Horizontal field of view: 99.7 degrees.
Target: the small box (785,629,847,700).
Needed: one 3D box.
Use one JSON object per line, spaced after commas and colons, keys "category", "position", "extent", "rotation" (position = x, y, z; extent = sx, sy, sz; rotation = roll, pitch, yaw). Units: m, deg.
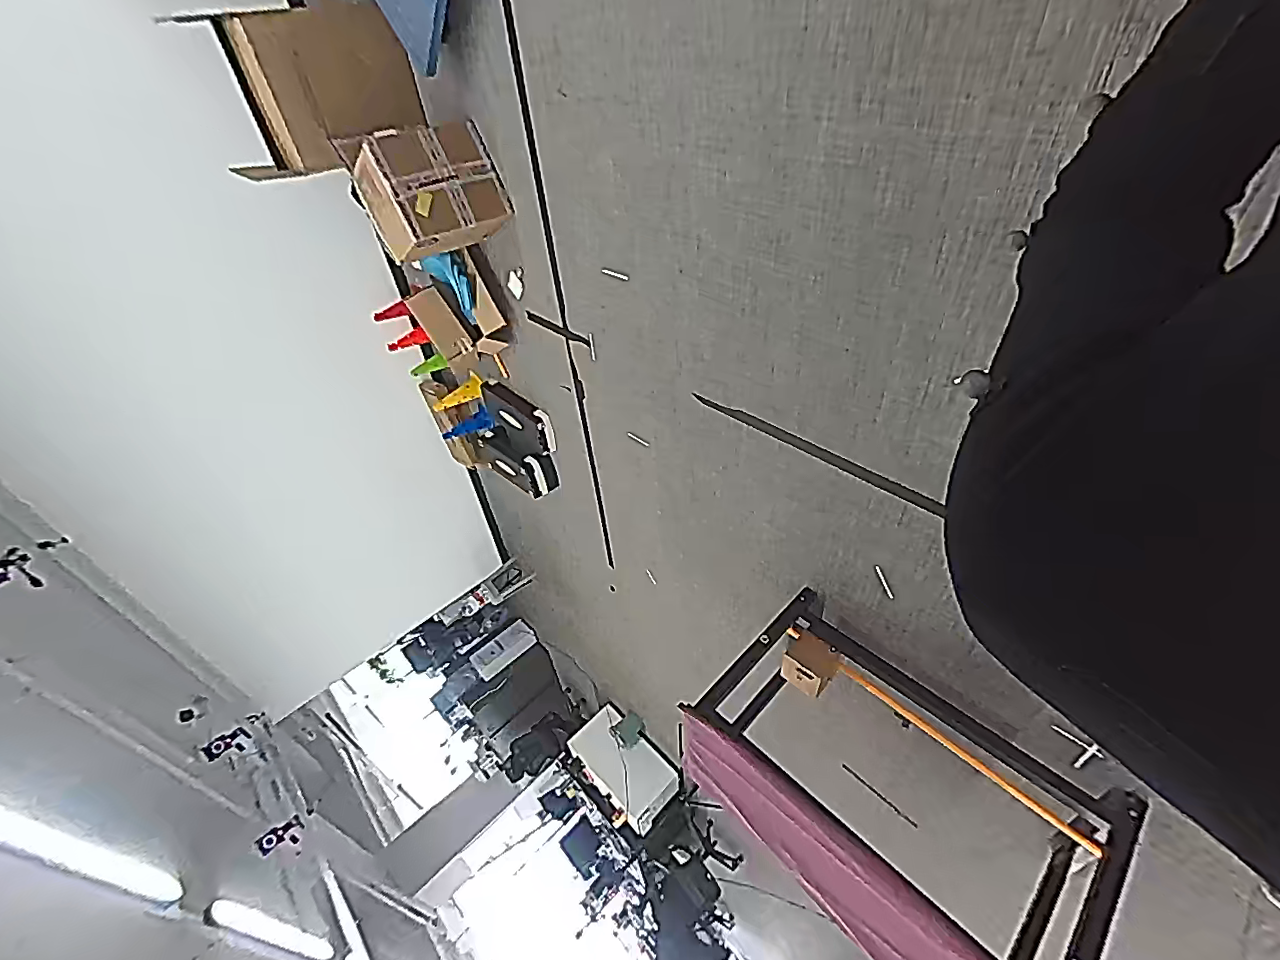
{"category": "small box", "position": [0.701, 0.730, 2.155], "extent": [0.168, 0.176, 0.179], "rotation": [32, 145, 34]}
